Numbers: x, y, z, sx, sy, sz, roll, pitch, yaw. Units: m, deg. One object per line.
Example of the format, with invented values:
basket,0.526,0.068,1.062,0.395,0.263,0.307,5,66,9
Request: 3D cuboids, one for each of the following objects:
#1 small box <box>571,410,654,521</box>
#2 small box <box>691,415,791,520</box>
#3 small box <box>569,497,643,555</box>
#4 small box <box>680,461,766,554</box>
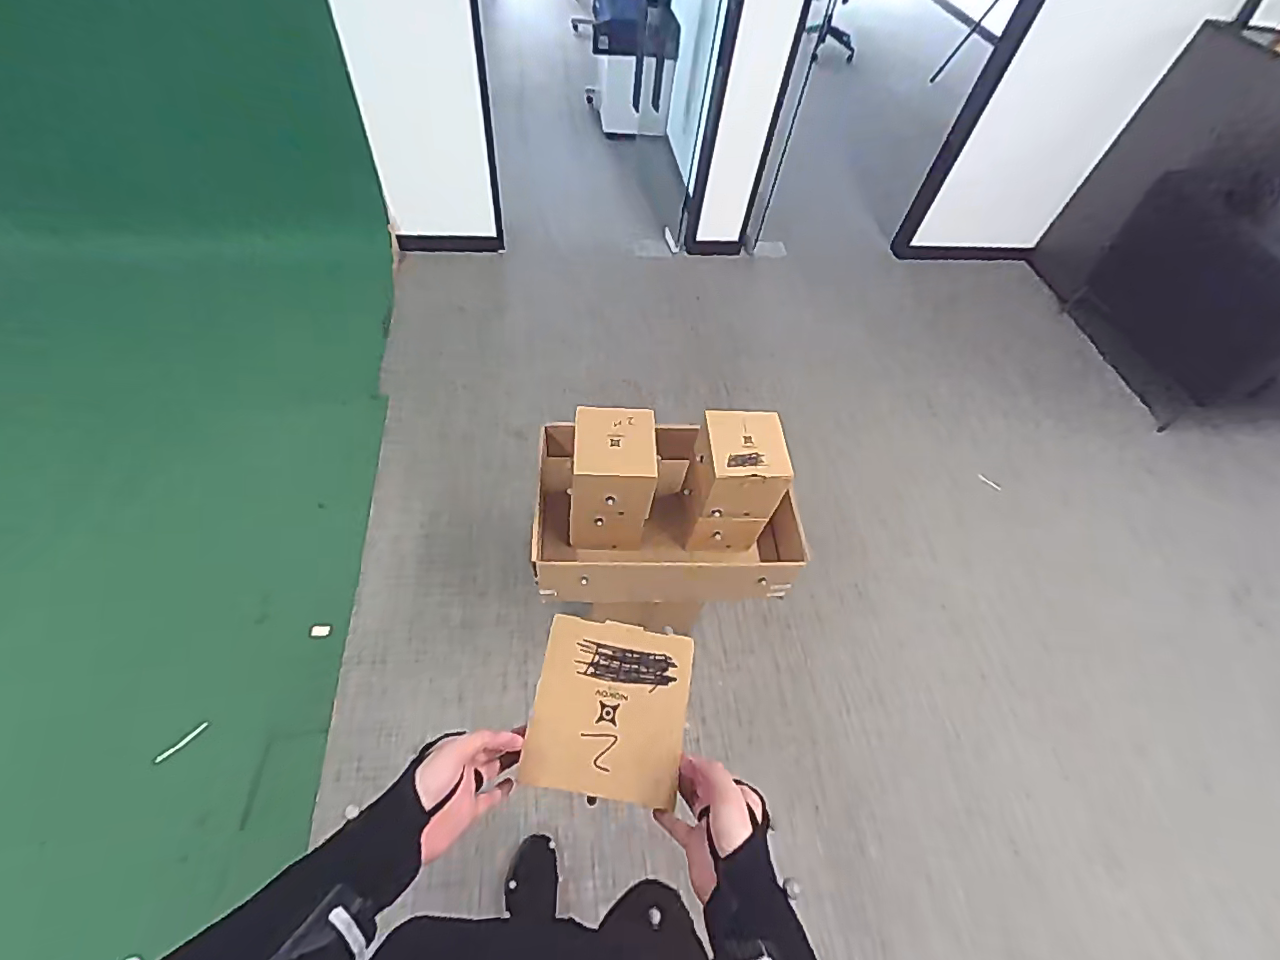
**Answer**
small box,-0.061,-0.026,1.155,0.168,0.176,0.179,3,55,-6
small box,0.213,-0.023,1.191,0.168,0.176,0.179,1,55,-7
small box,-0.081,0.060,1.293,0.168,0.176,0.179,2,55,-4
small box,0.195,0.072,1.325,0.168,0.176,0.179,1,55,-6
